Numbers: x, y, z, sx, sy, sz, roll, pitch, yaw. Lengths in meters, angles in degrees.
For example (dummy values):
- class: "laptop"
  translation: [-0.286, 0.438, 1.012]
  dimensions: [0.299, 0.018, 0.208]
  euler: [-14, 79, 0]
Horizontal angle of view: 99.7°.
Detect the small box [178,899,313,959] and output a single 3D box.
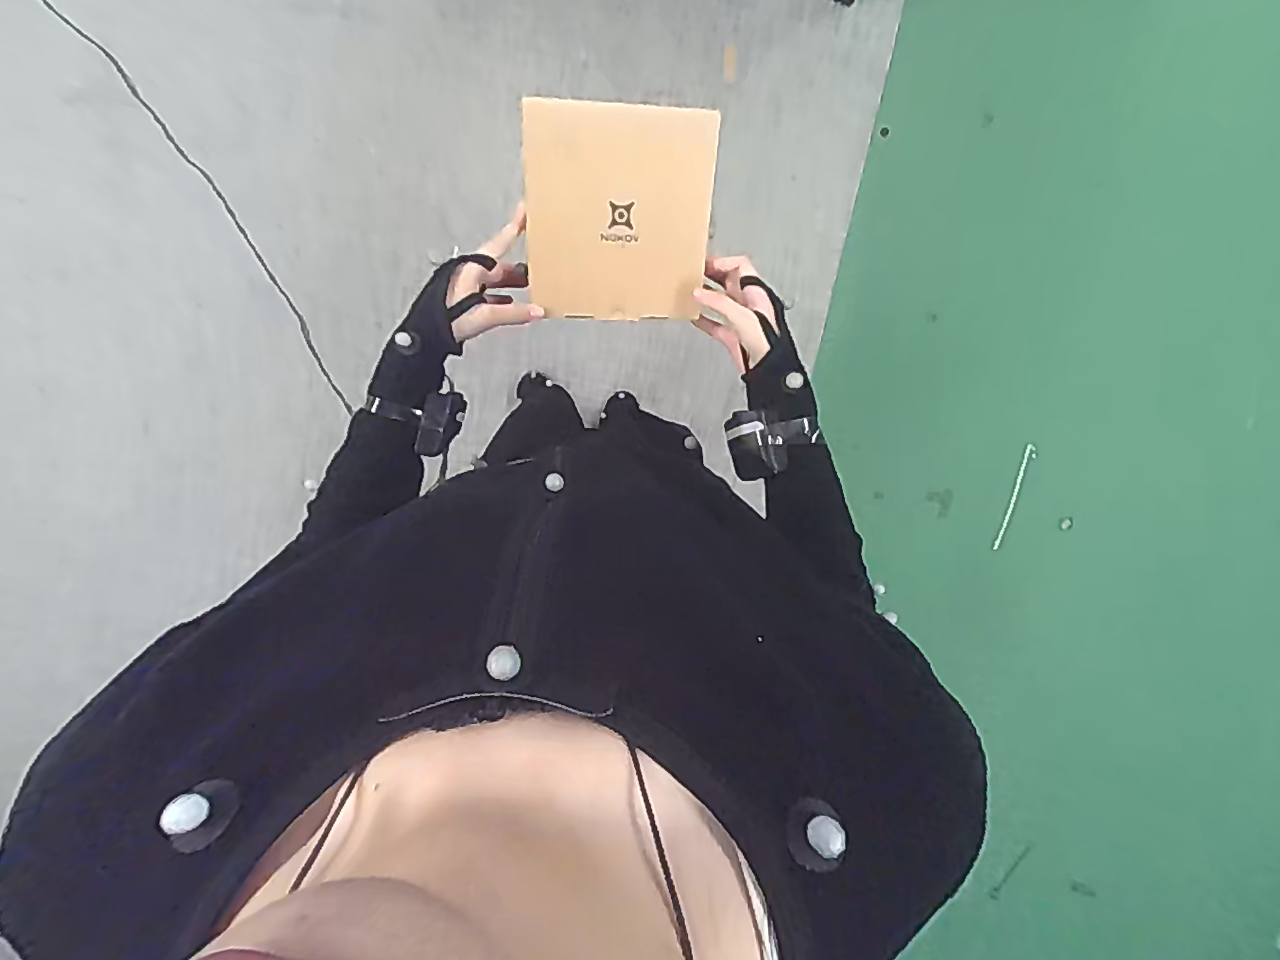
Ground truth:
- class: "small box"
  translation: [-0.754, 0.931, 1.006]
  dimensions: [0.179, 0.176, 0.168]
  euler: [16, 100, -5]
